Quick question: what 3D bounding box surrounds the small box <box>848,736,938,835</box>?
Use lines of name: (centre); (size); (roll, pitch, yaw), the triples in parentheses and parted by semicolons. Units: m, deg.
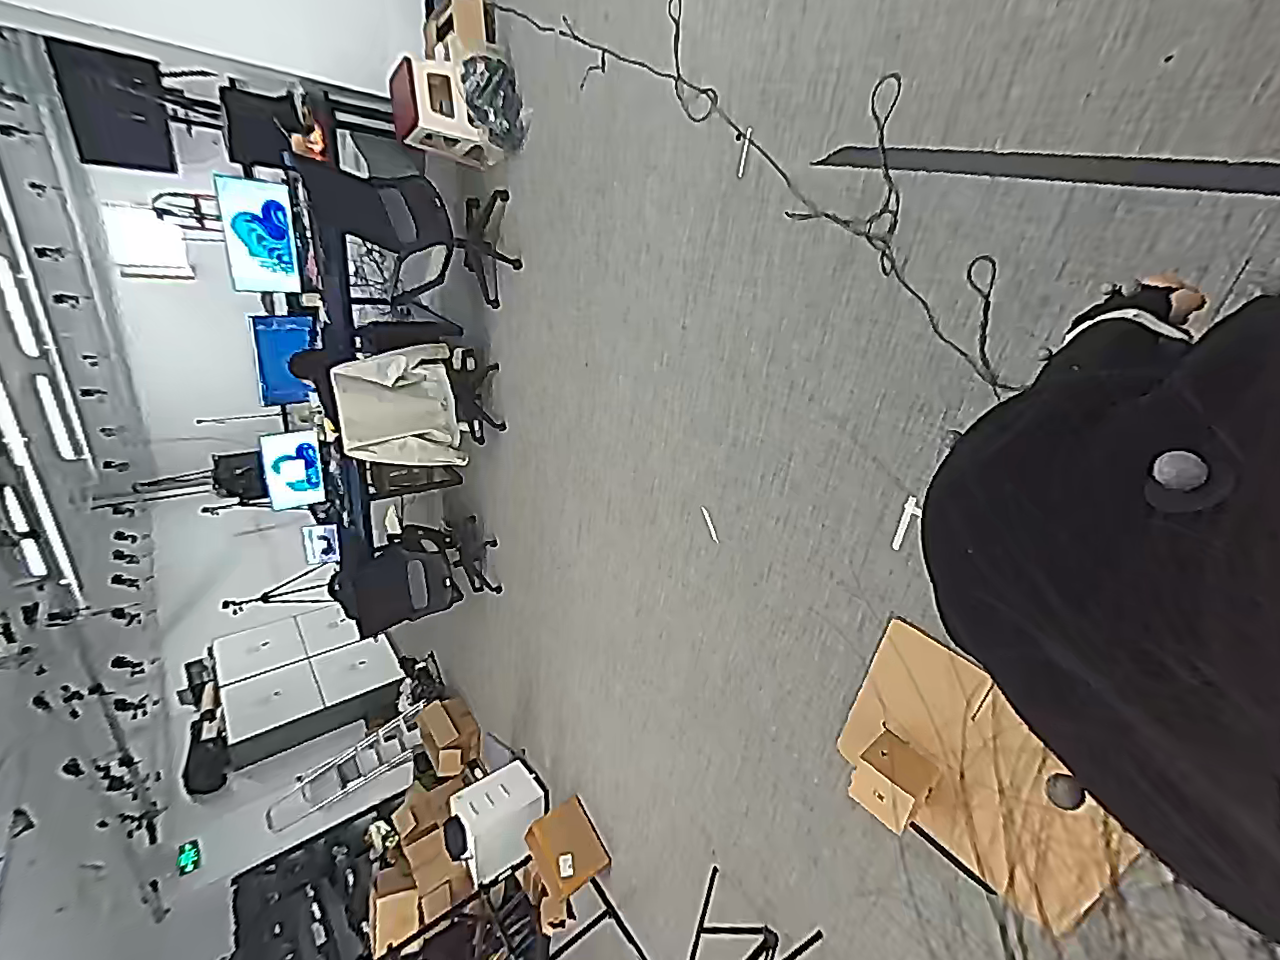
small box: (0.772, 0.920, 1.653); (0.179, 0.176, 0.168); (27, 122, 43)
